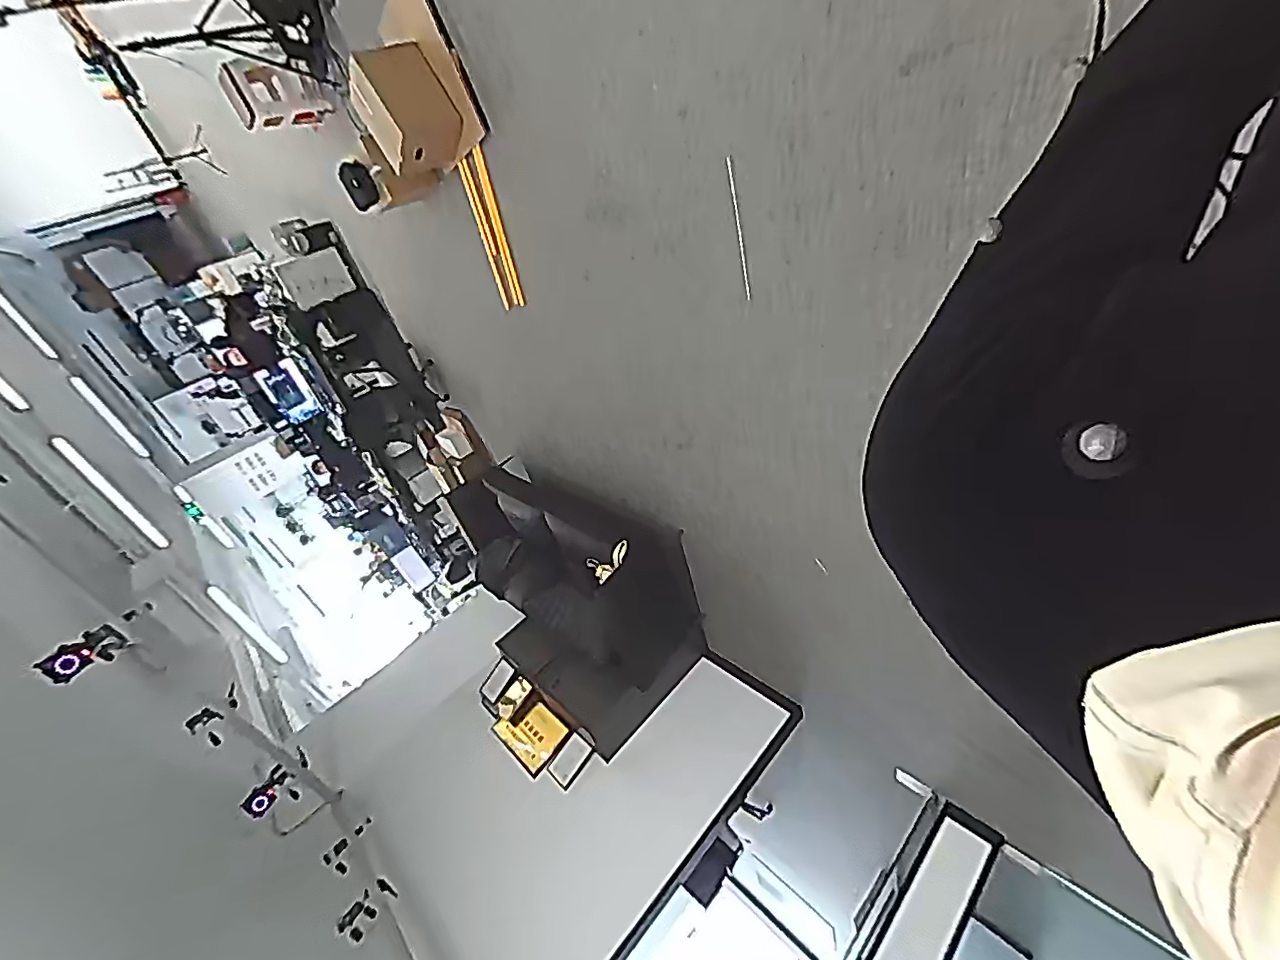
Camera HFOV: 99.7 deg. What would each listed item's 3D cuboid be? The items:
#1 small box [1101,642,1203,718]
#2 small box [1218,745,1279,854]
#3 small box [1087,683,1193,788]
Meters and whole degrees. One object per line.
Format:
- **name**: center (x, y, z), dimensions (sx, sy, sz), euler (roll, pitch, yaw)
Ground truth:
- **small box**: center (1.511, 0.618, 1.594), dimensions (0.168, 0.176, 0.179), euler (24, 141, 38)
- **small box**: center (1.600, 0.806, 1.340), dimensions (0.168, 0.176, 0.179), euler (26, 143, 40)
- **small box**: center (1.400, 0.709, 1.514), dimensions (0.168, 0.176, 0.179), euler (25, 143, 37)
